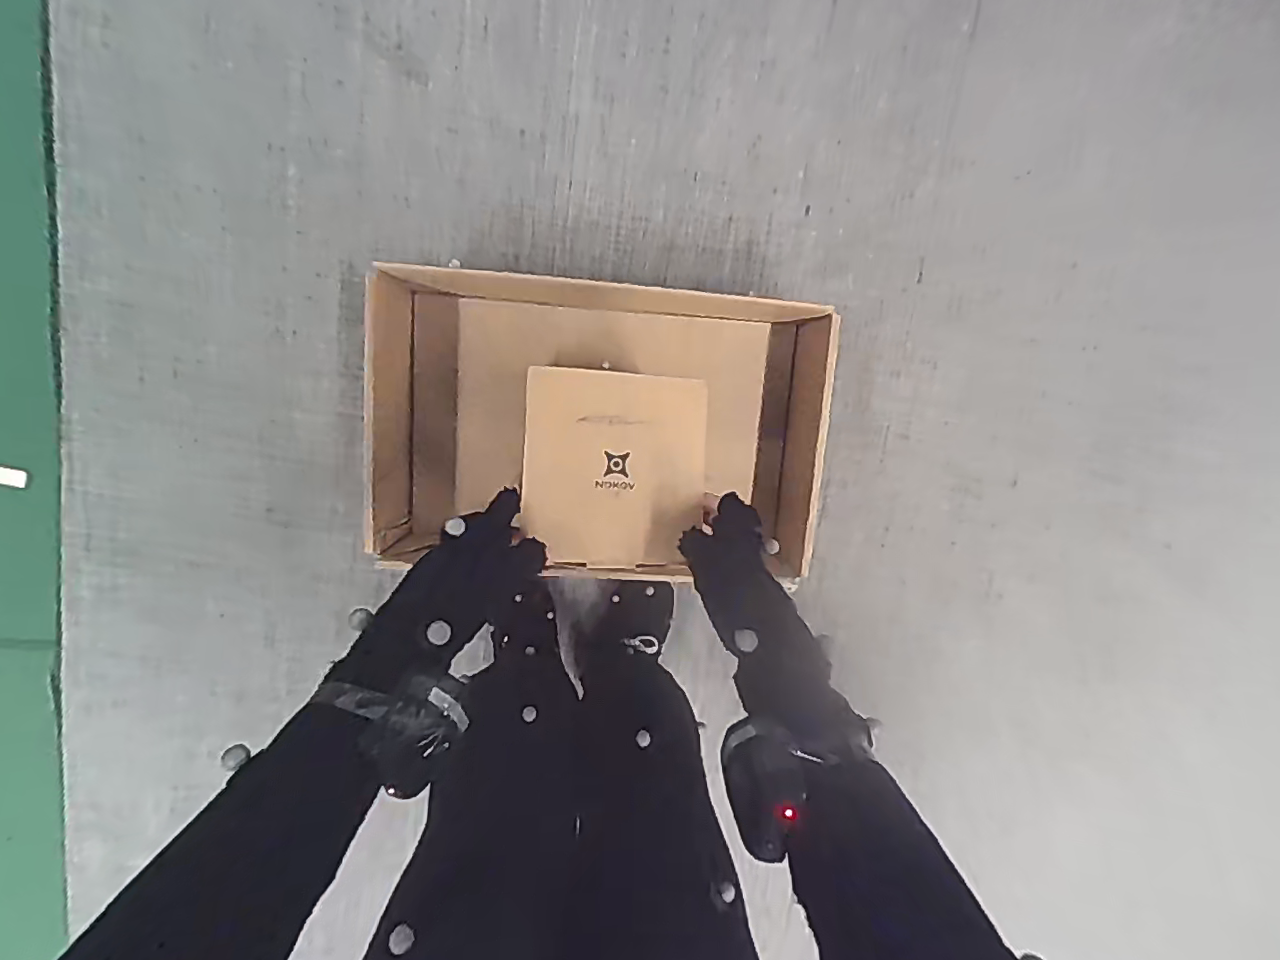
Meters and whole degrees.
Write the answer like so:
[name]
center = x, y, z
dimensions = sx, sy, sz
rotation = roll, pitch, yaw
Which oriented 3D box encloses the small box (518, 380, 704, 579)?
[small box]
center = -0.034, -0.004, 0.558
dimensions = 0.168, 0.176, 0.179
rotation = -2, 91, -9
